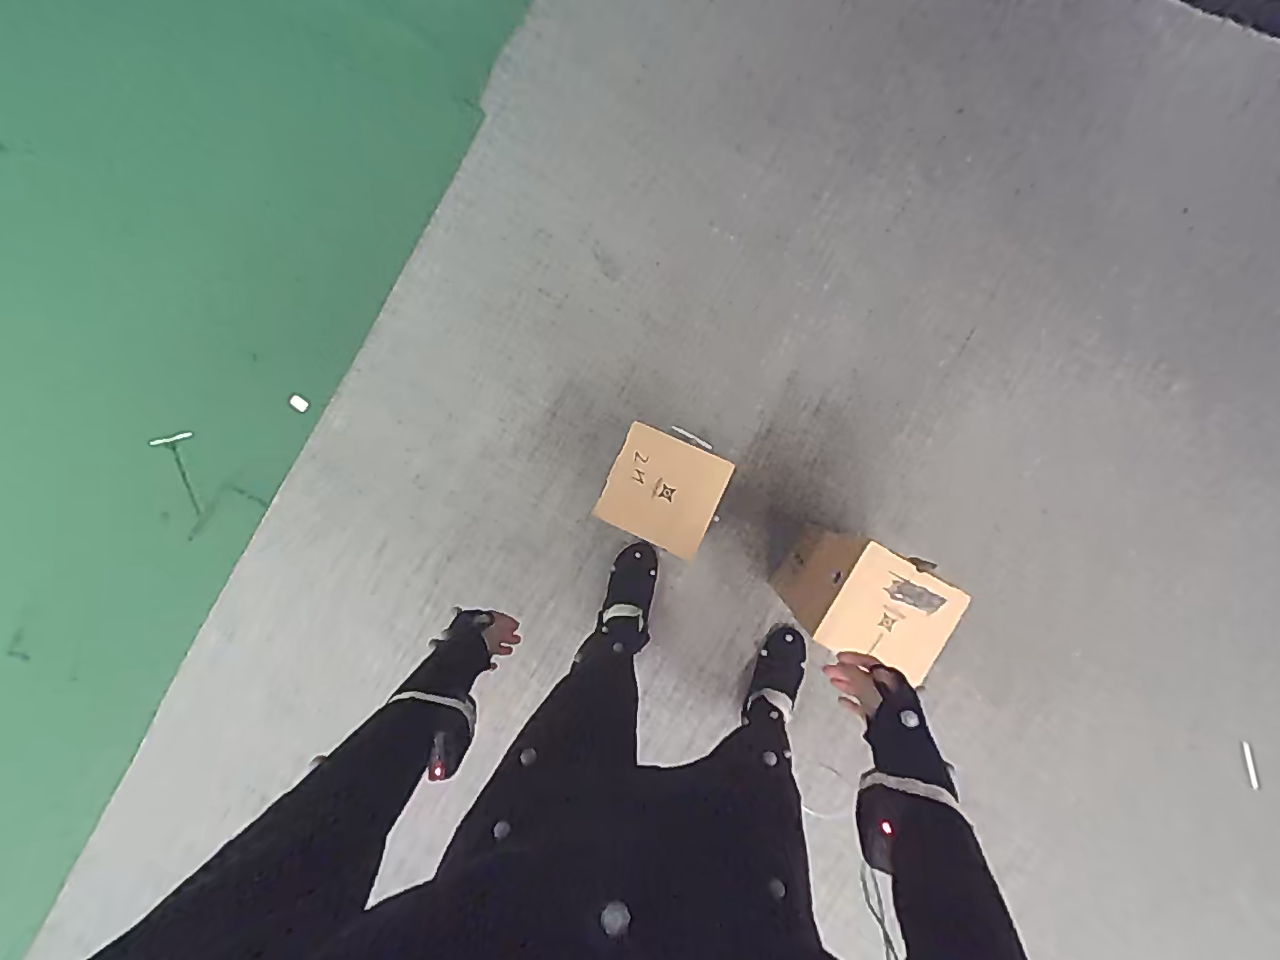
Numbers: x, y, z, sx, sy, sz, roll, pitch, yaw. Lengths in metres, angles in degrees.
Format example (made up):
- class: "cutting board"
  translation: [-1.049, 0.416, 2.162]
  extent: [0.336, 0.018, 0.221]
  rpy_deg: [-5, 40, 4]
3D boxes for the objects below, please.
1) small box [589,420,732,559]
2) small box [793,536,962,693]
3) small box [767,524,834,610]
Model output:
- class: "small box"
  translation: [0.038, 0.017, 0.918]
  extent: [0.179, 0.176, 0.168]
  rpy_deg: [25, 89, 6]
- class: "small box"
  translation: [0.370, 0.203, 0.881]
  extent: [0.168, 0.176, 0.179]
  rpy_deg: [31, 91, 7]
- class: "small box"
  translation: [0.400, 0.214, 1.207]
  extent: [0.168, 0.176, 0.179]
  rpy_deg: [30, 91, 5]
